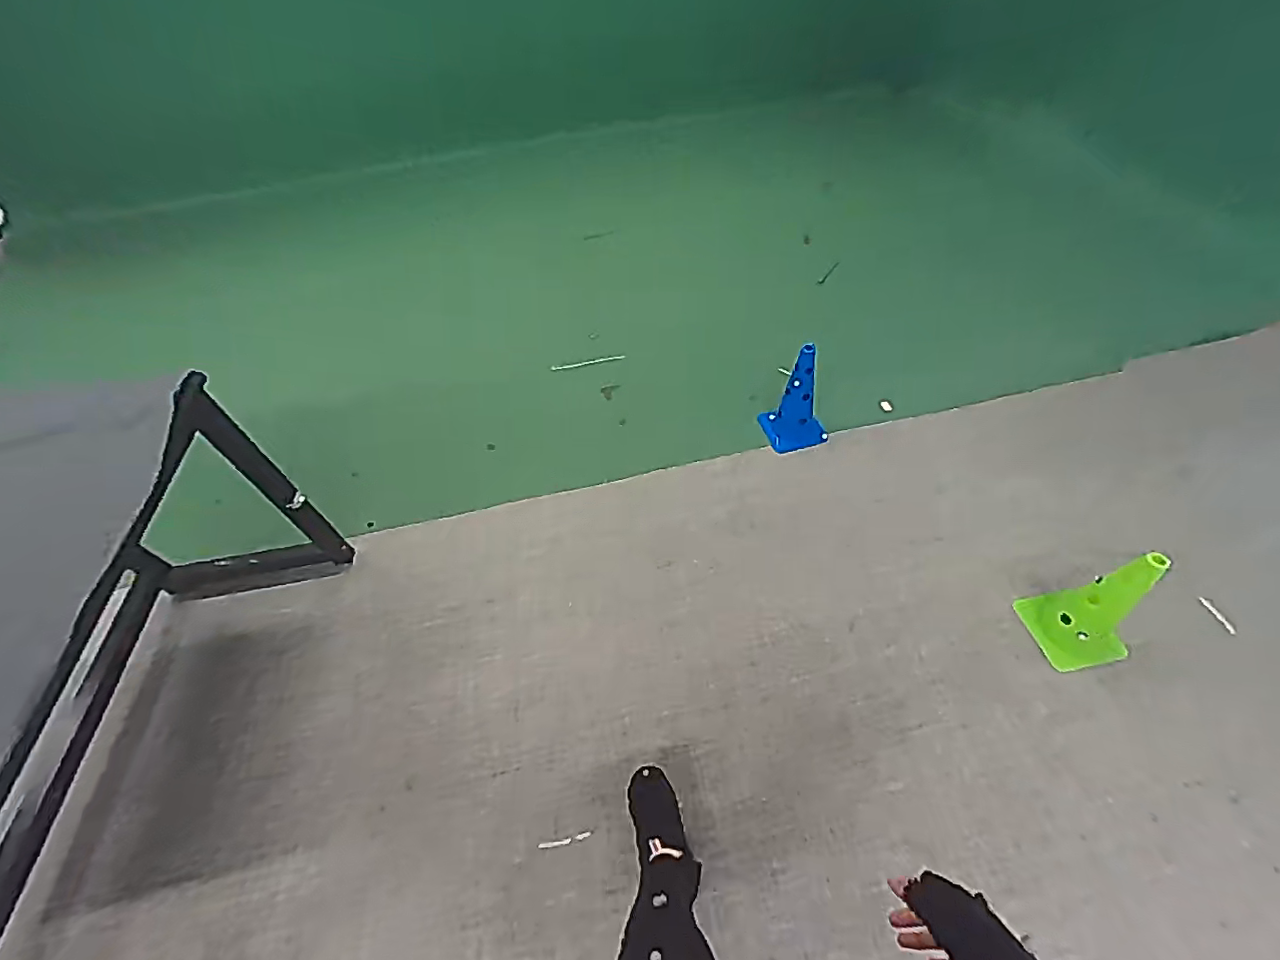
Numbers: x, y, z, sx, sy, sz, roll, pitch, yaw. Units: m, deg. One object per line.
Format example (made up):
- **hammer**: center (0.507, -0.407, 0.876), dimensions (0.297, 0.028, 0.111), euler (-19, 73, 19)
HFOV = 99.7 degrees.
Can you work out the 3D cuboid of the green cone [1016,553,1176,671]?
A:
- **green cone**: center (1.108, 0.277, 1.274), dimensions (0.200, 0.368, 0.202), euler (-12, 52, -4)
